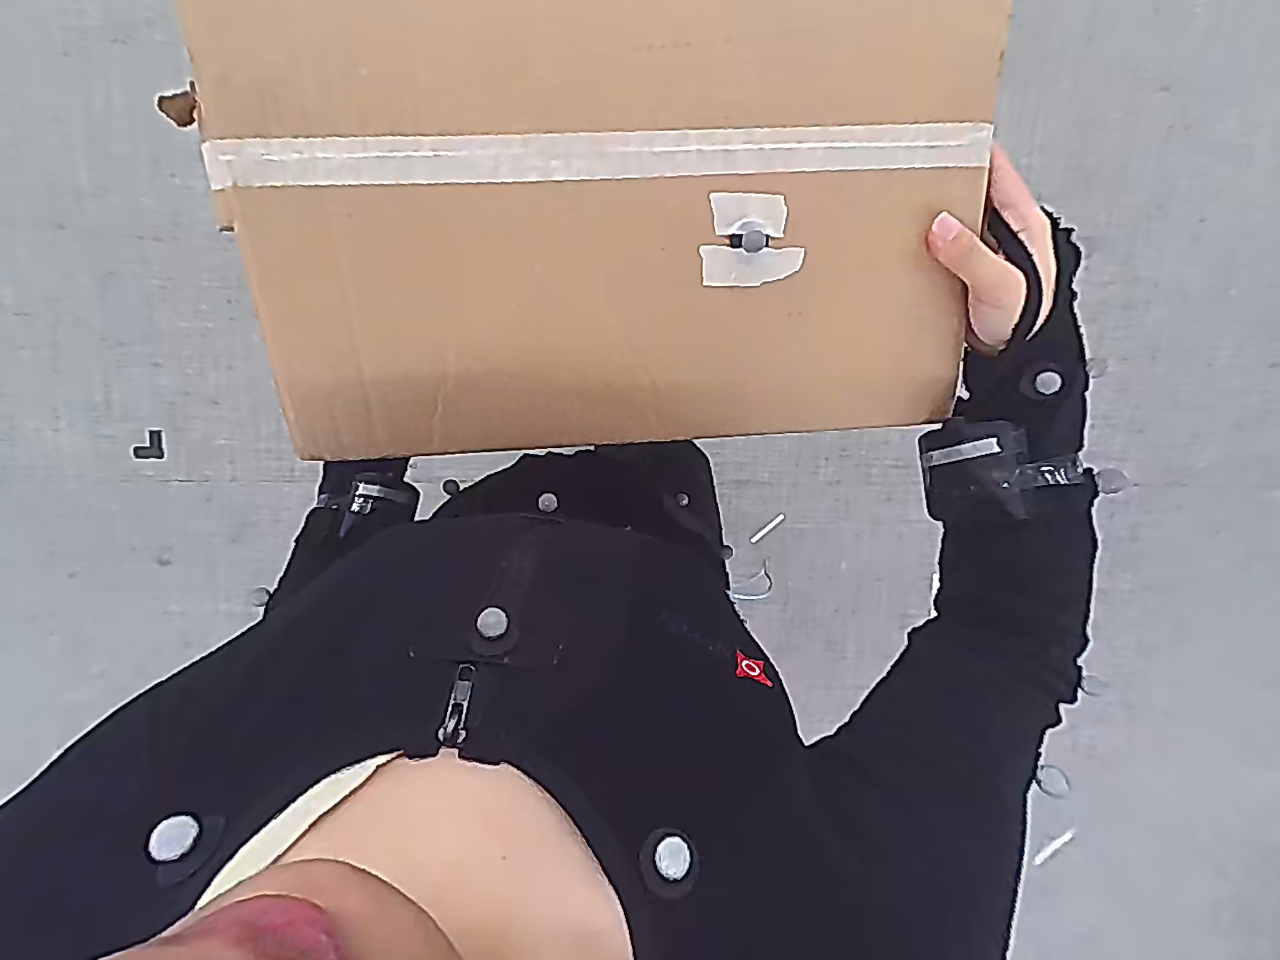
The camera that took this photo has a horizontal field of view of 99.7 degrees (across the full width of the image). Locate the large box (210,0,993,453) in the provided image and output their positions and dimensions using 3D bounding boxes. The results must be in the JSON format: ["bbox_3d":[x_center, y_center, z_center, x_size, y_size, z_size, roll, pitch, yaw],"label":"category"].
[{"bbox_3d":[-0.022,-0.226,0.436,0.408,0.320,0.320,-5,110,-5],"label":"large box"}]
